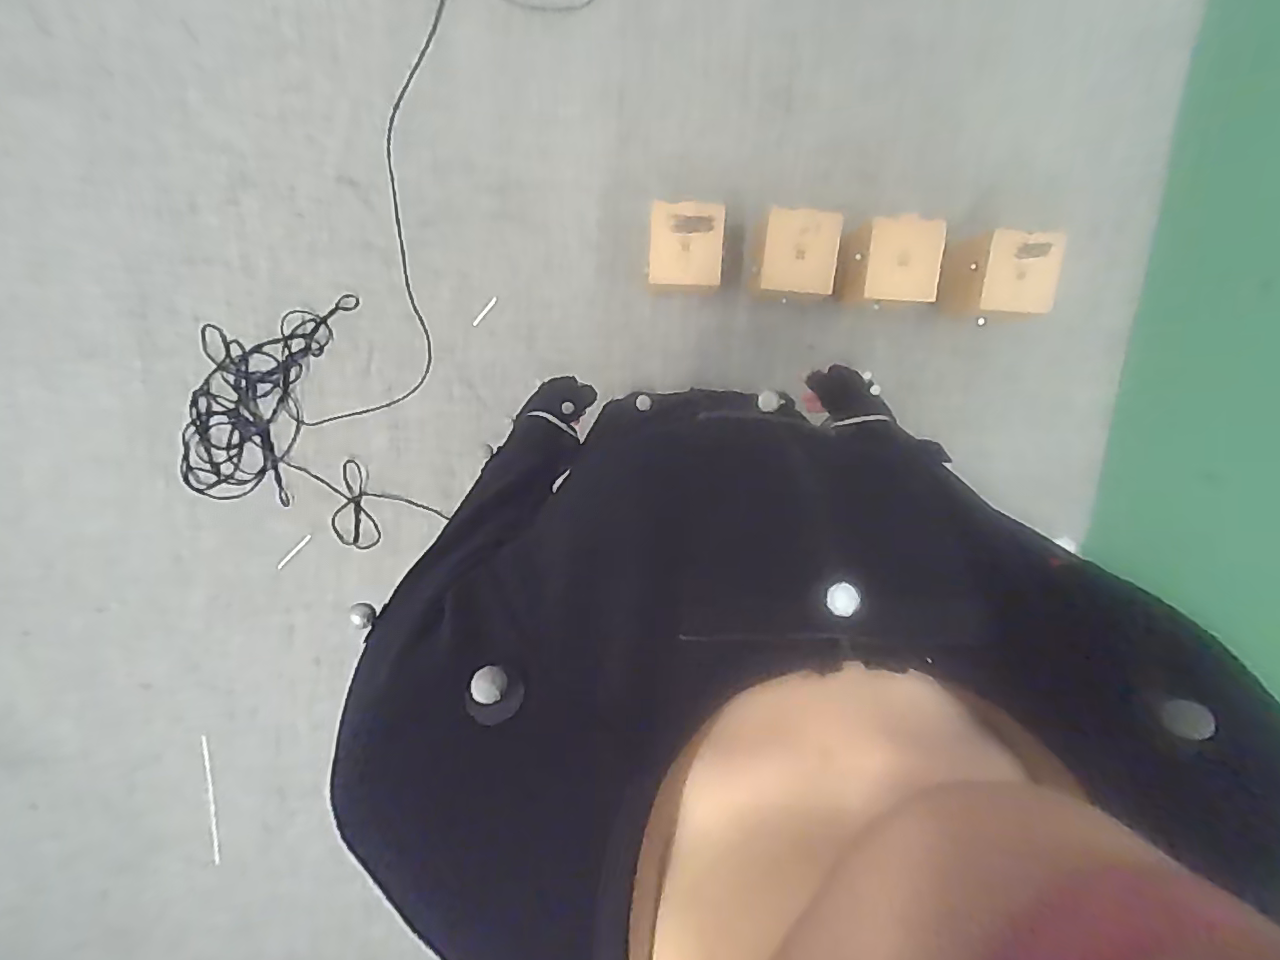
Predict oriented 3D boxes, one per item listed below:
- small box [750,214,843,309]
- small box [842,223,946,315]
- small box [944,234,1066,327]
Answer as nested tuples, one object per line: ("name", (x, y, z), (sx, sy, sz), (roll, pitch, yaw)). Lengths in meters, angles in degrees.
("small box", (0.365, -0.514, 1.294), (0.168, 0.176, 0.179), (5, 100, 0))
("small box", (0.597, -0.496, 1.294), (0.168, 0.176, 0.179), (3, 99, 1))
("small box", (0.859, -0.470, 1.291), (0.168, 0.176, 0.179), (4, 101, 1))
